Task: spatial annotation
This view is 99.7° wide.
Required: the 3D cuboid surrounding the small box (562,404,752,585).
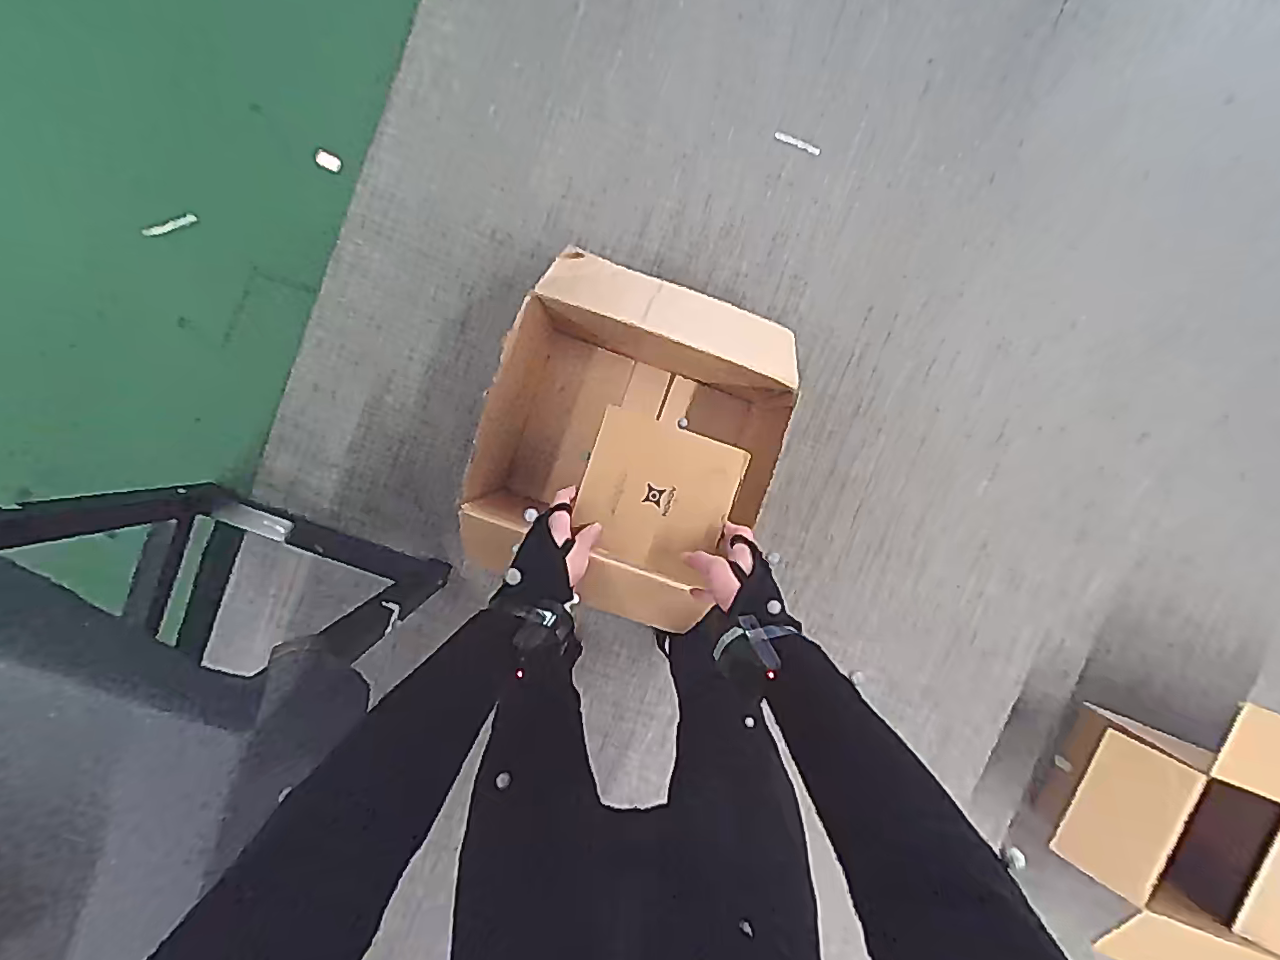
[{"bbox_3d":[0.016,0.011,0.686,0.179,0.176,0.168,19,93,-3],"label":"small box"}]
